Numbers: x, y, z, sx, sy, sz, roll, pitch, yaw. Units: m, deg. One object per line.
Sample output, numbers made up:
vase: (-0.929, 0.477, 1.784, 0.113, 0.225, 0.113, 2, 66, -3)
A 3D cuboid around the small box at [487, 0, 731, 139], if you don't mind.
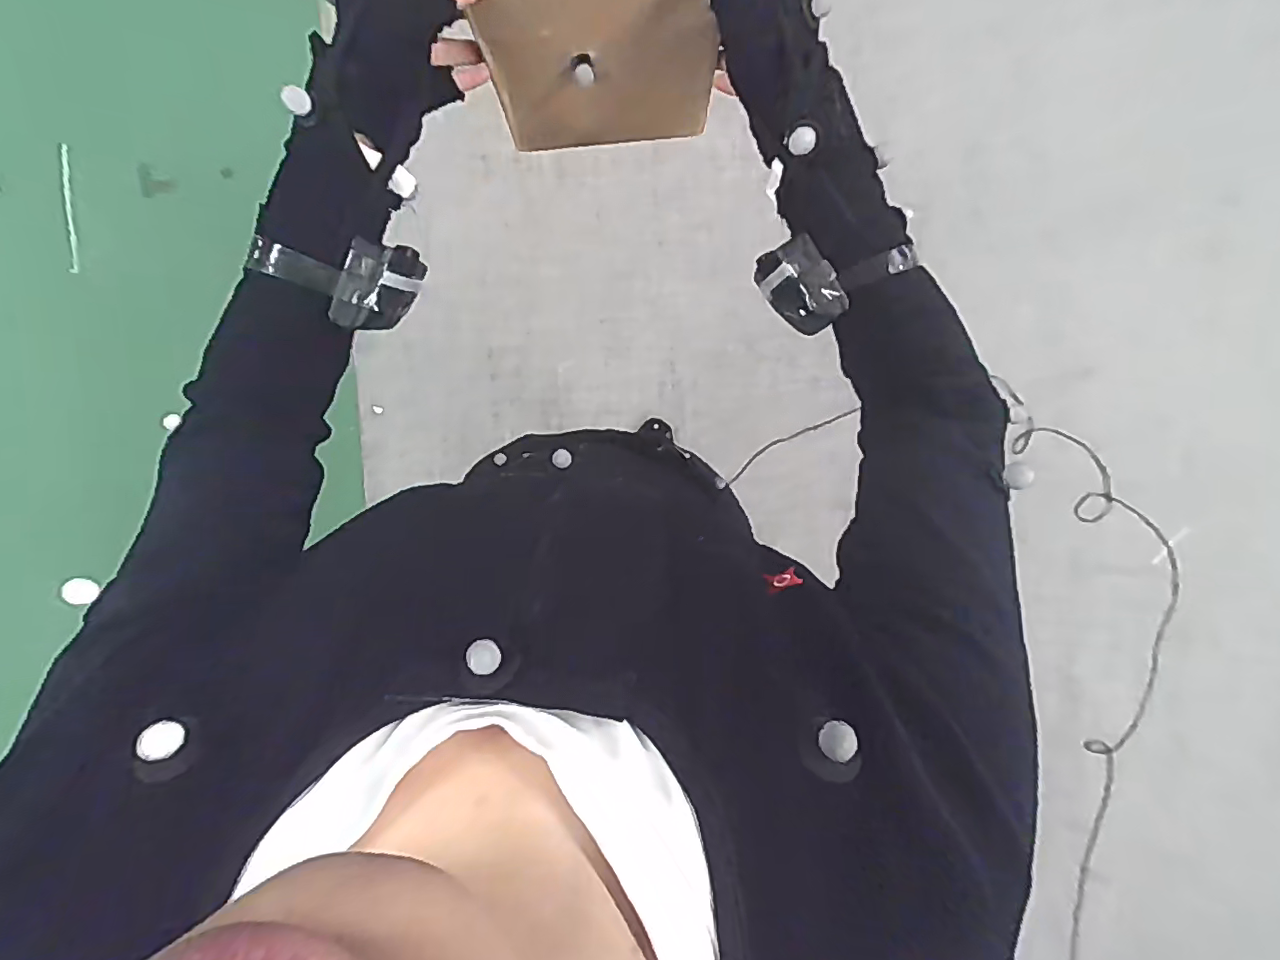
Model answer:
small box: (-0.024, -0.397, 0.420, 0.179, 0.176, 0.168, -5, 90, 1)
